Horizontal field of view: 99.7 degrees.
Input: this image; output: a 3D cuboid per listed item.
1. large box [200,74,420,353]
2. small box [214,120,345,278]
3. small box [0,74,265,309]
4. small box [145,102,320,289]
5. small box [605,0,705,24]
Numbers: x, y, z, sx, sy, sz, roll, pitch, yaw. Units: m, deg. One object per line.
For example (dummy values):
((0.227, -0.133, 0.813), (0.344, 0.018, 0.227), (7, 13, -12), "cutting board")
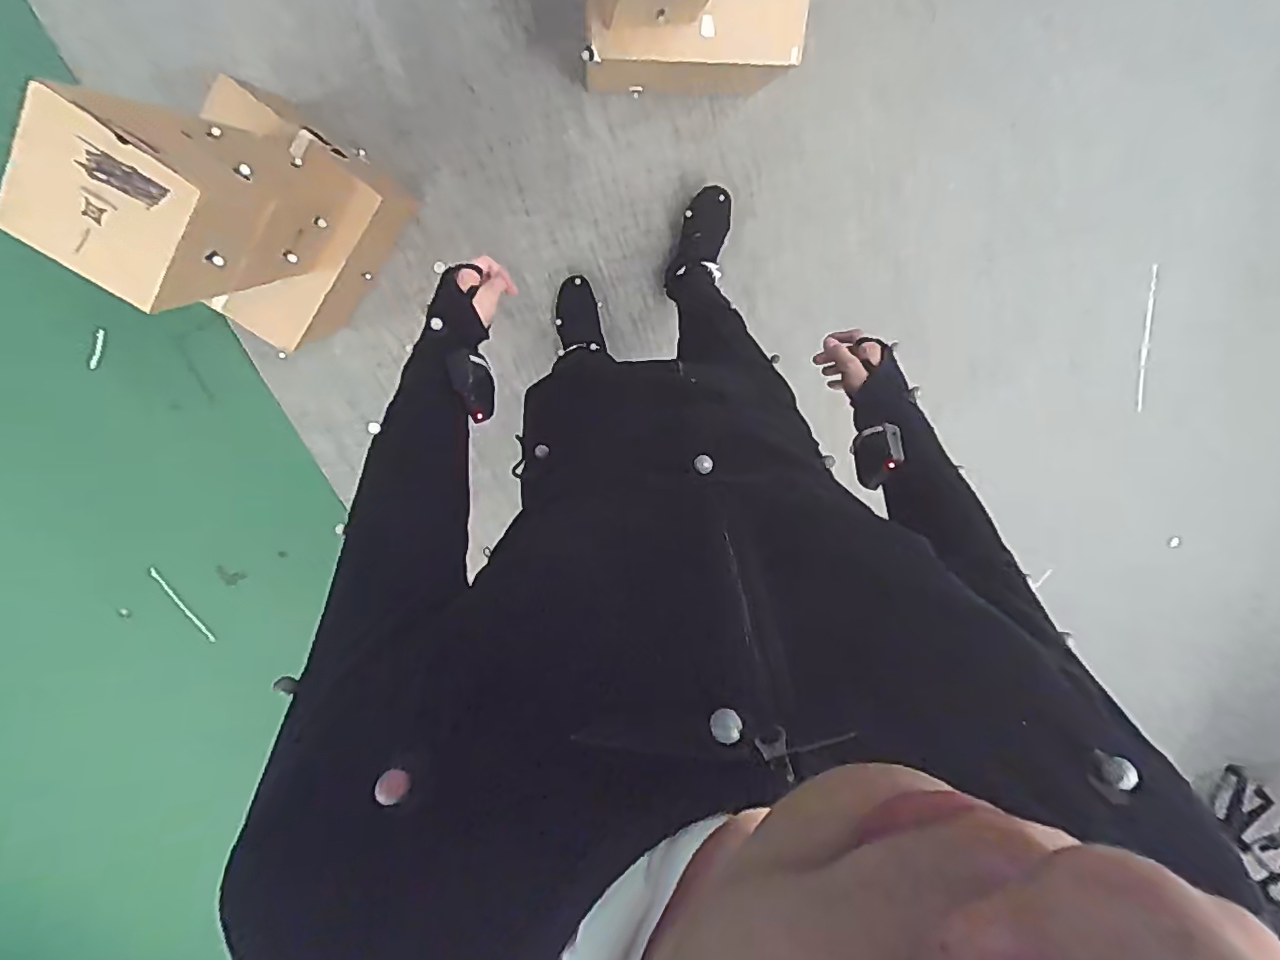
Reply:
((-0.754, -0.562, 1.191), (0.320, 0.320, 0.408), (36, 108, -19), "large box")
((-0.659, -0.491, 0.961), (0.168, 0.176, 0.179), (35, 107, -20), "small box")
((-0.613, -0.347, 0.673), (0.168, 0.176, 0.179), (35, 109, -20), "small box")
((-0.635, -0.418, 0.818), (0.179, 0.176, 0.168), (36, 107, -22), "small box")
((0.023, -0.861, 0.864), (0.168, 0.176, 0.179), (-9, 117, -3), "small box")
